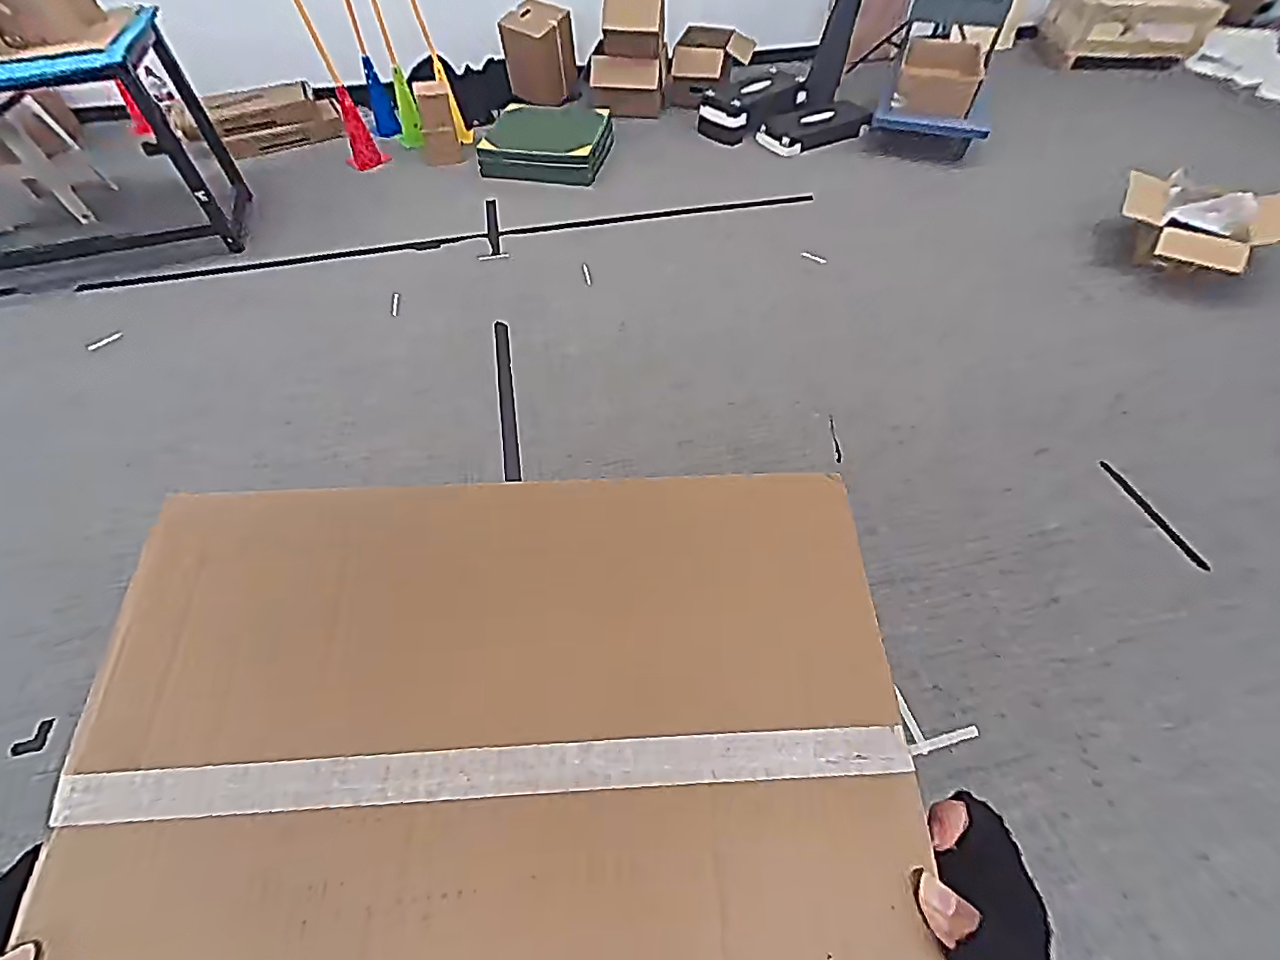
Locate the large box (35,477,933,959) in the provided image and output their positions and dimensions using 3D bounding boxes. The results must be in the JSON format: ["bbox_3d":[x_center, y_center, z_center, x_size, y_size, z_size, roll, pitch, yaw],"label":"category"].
[{"bbox_3d":[-0.074,0.208,0.409,0.408,0.320,0.320,-2,65,-3],"label":"large box"}]
